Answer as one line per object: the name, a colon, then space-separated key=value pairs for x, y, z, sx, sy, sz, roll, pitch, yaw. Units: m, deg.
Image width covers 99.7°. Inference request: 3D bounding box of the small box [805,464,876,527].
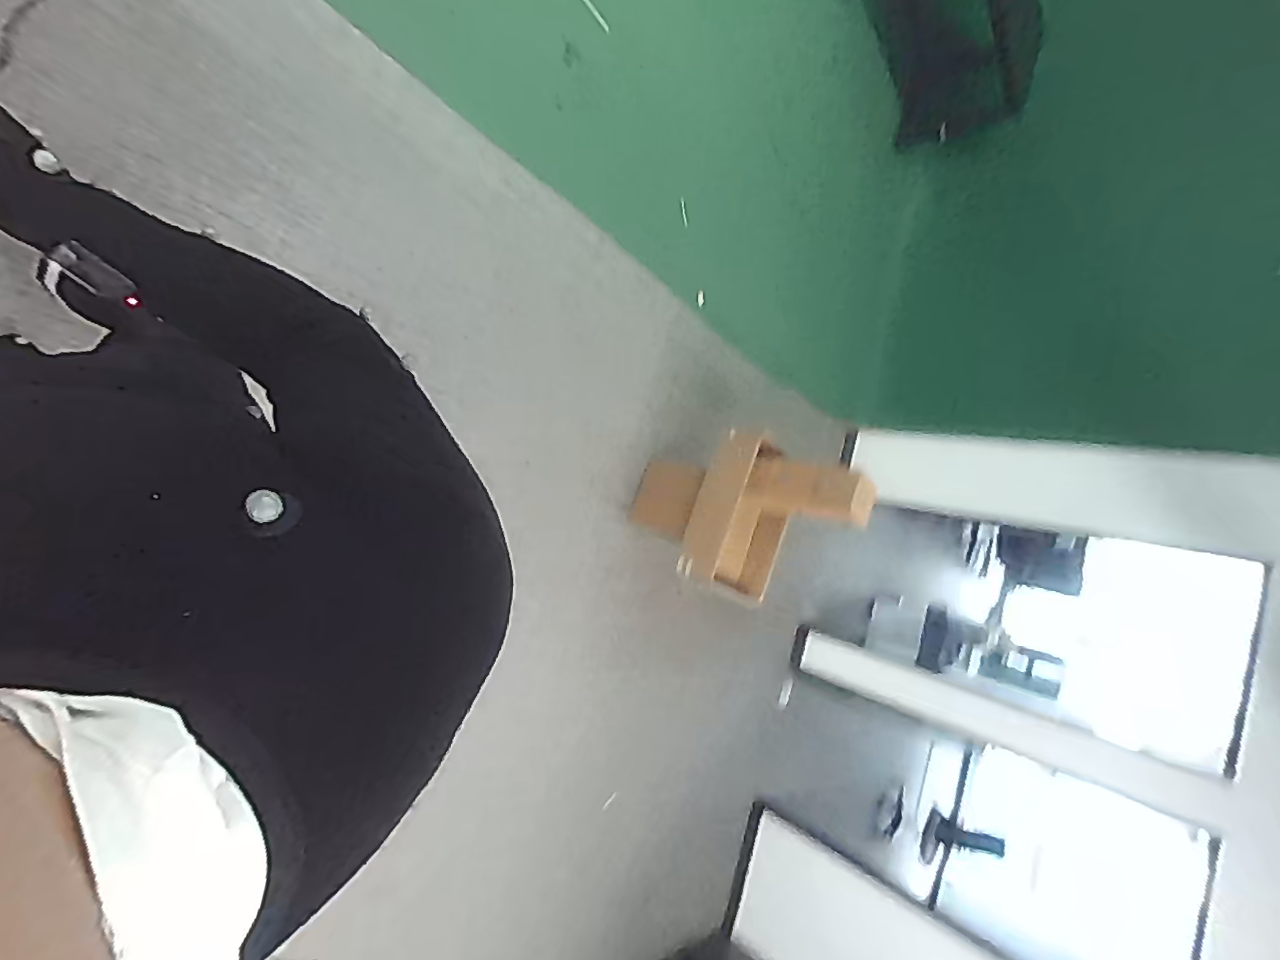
small box: x=0.724 y=0.050 z=1.956 sx=0.179 sy=0.176 sz=0.168 roll=34 pitch=72 yaw=-44
